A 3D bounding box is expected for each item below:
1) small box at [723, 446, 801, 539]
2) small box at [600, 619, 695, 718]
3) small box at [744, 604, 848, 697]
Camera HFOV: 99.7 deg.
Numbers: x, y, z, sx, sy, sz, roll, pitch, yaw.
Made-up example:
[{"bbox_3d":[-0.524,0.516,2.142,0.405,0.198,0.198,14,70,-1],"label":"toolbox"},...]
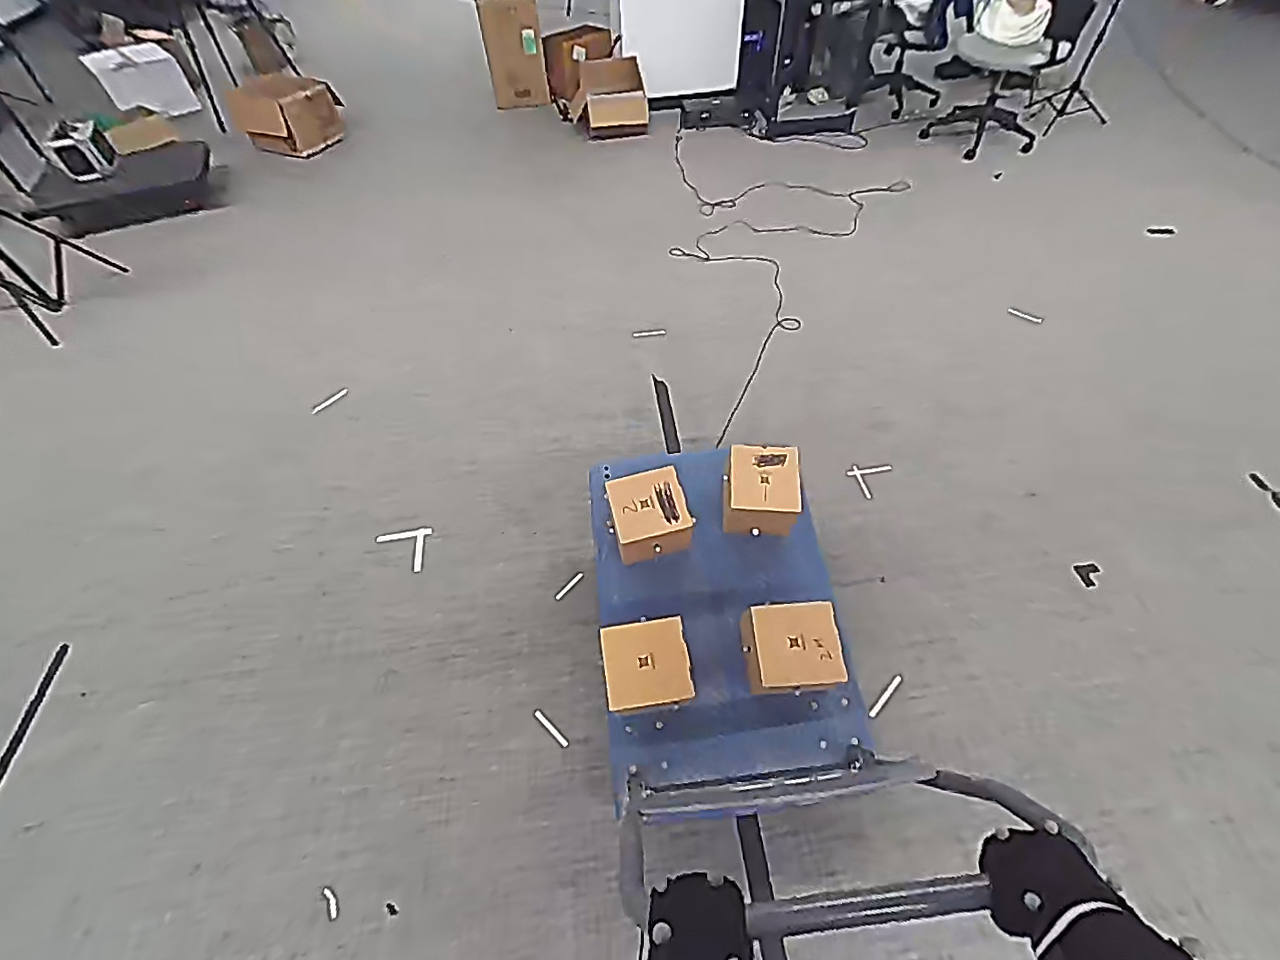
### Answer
[{"bbox_3d":[0.300,0.035,1.361,0.168,0.176,0.179,3,64,3],"label":"small box"},{"bbox_3d":[0.014,0.414,1.175,0.179,0.176,0.168,-8,63,-4],"label":"small box"},{"bbox_3d":[0.328,0.377,1.185,0.179,0.176,0.168,-4,63,0],"label":"small box"}]
